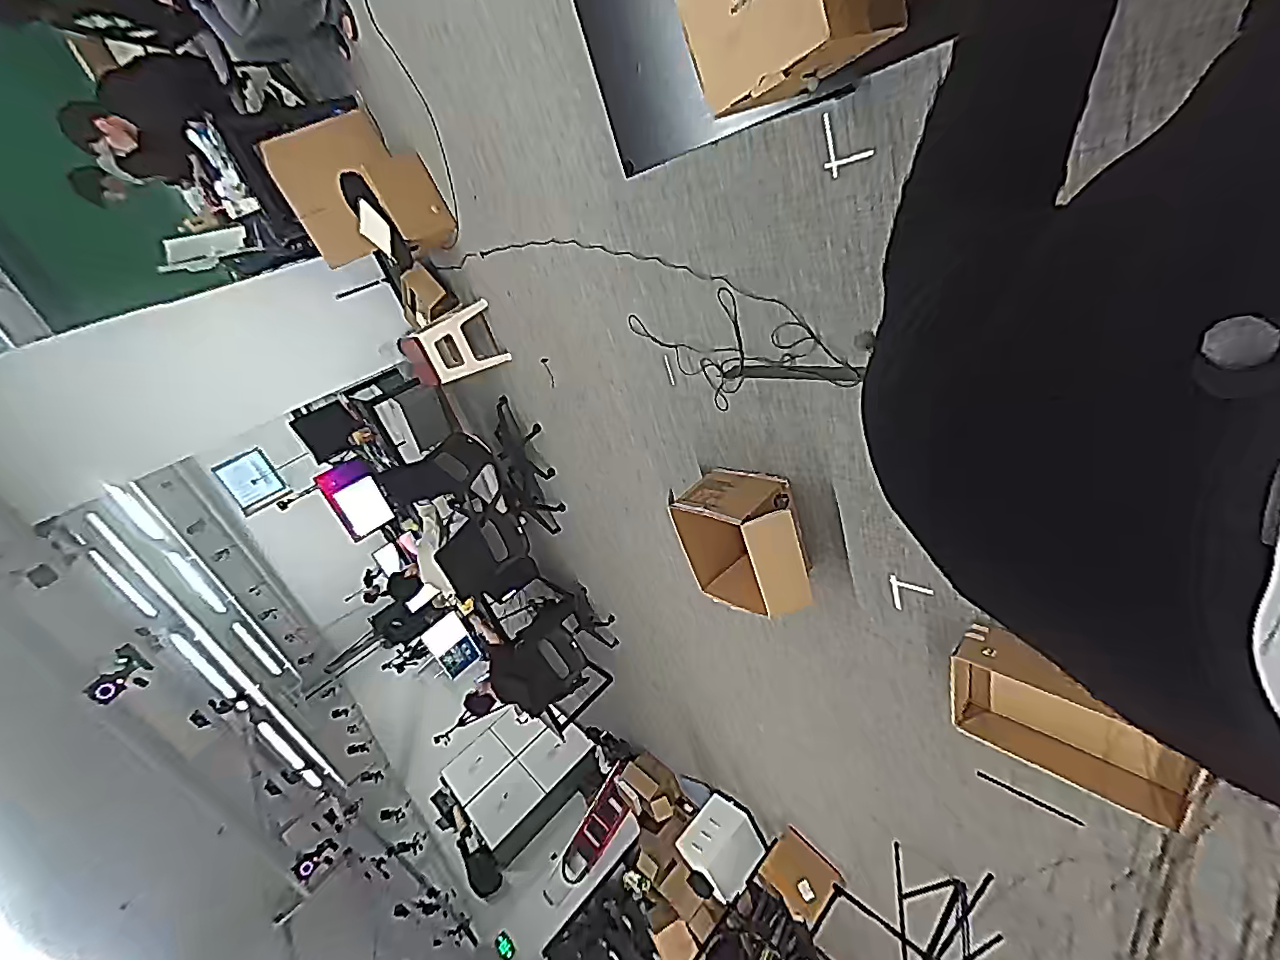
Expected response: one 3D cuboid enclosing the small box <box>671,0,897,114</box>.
[{"bbox_3d":[0.154,-0.547,0.592,0.168,0.176,0.179,6,126,52],"label":"small box"}]
